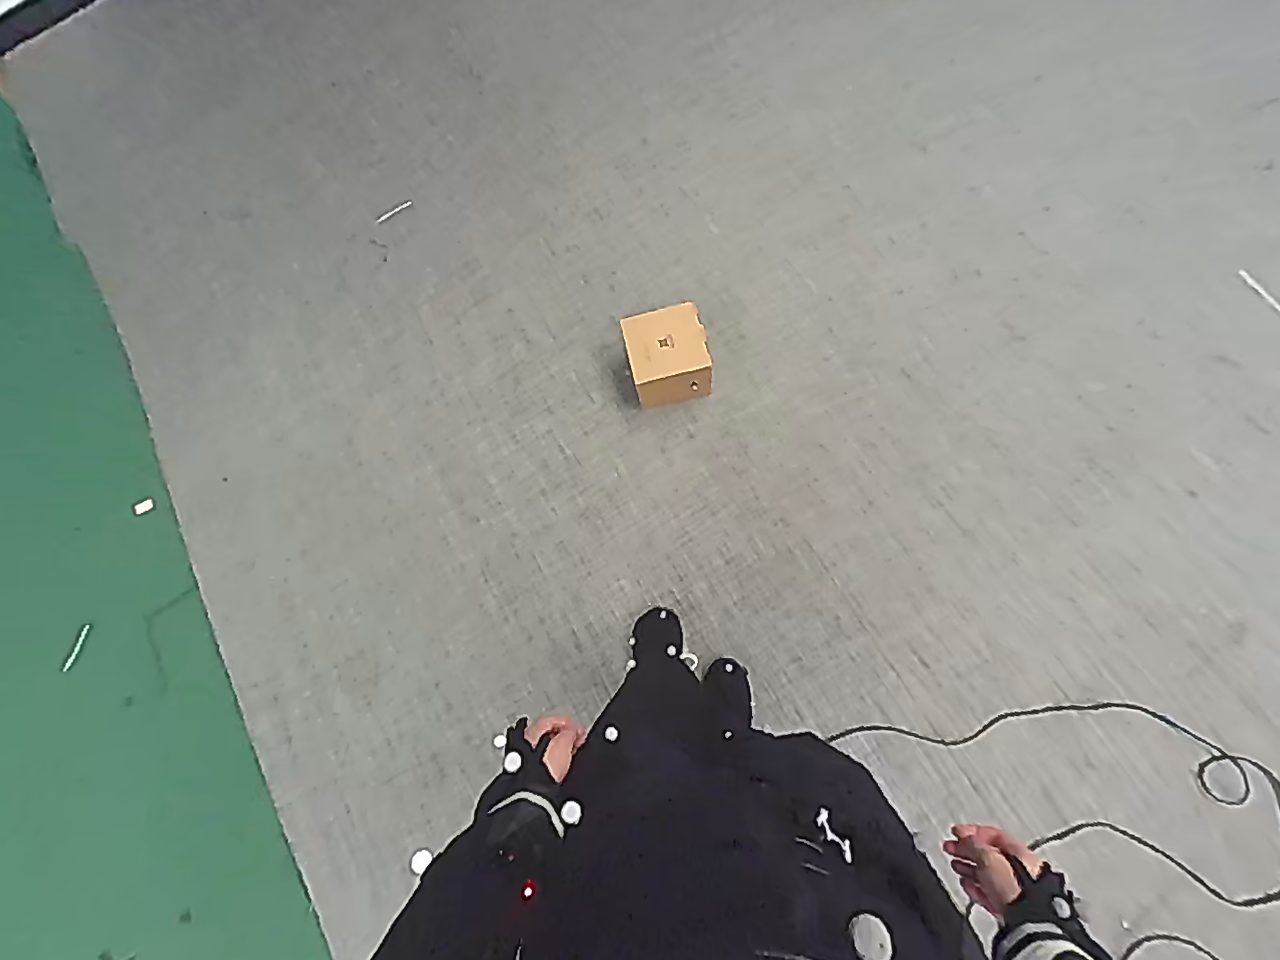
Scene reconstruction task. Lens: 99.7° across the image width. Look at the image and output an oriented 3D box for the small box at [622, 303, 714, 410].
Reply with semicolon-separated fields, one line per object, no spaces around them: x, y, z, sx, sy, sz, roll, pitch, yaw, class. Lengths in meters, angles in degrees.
0.068;-0.284;1.273;0.179;0.176;0.168;-15;75;3;small box
